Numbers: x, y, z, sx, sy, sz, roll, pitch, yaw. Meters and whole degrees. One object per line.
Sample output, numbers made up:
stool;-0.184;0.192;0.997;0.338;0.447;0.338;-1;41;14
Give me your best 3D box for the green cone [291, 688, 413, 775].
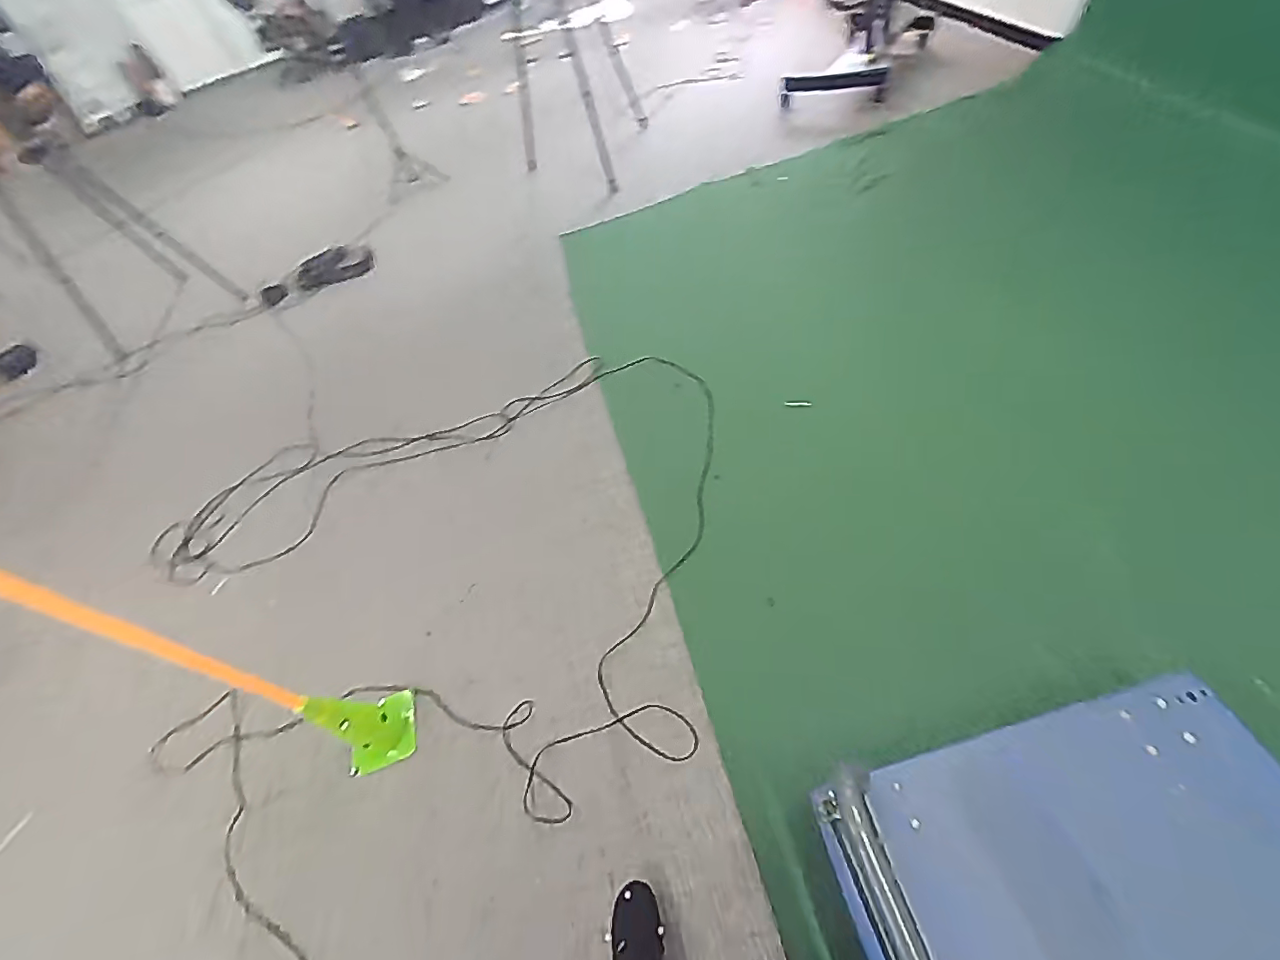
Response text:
green cone;-0.817;0.654;1.496;0.200;0.368;0.202;-22;51;-1
